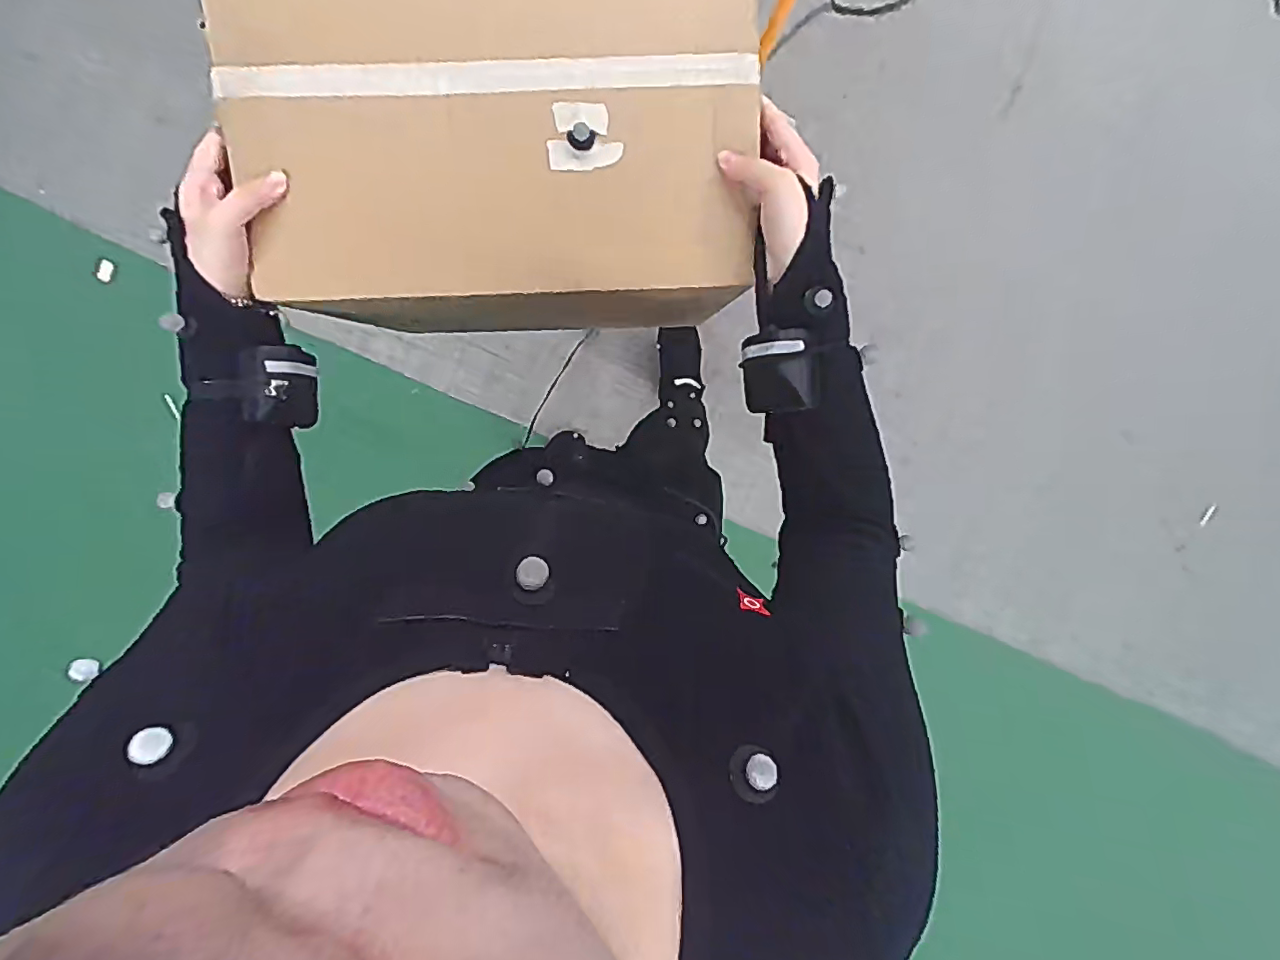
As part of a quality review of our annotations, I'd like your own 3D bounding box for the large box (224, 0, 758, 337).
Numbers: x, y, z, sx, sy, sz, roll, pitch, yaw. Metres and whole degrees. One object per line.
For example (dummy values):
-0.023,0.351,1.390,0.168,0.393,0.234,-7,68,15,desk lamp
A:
-0.118,-0.334,0.567,0.408,0.320,0.320,-4,101,-3,large box
